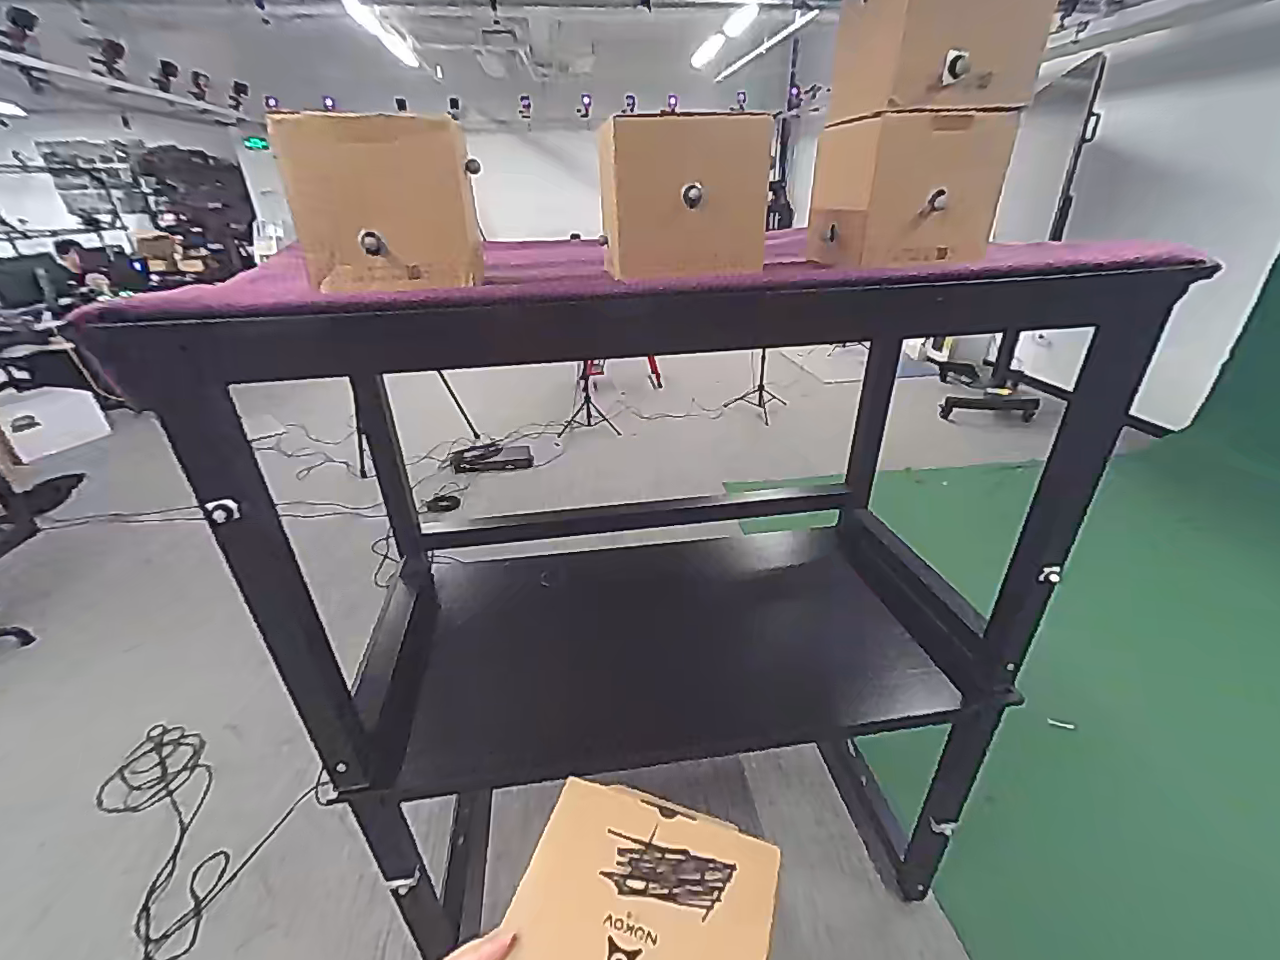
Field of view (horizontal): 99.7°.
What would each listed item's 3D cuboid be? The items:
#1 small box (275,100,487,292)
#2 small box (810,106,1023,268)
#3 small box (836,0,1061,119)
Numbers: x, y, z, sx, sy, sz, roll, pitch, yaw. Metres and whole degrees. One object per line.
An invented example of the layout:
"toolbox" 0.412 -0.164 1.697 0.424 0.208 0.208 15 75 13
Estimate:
"small box" -0.271 -0.312 0.614 0.168 0.176 0.179 -6 28 -10
"small box" 0.337 -0.372 0.699 0.168 0.176 0.179 -5 29 -6
"small box" 0.343 -0.516 0.621 0.168 0.176 0.179 -4 29 -3
